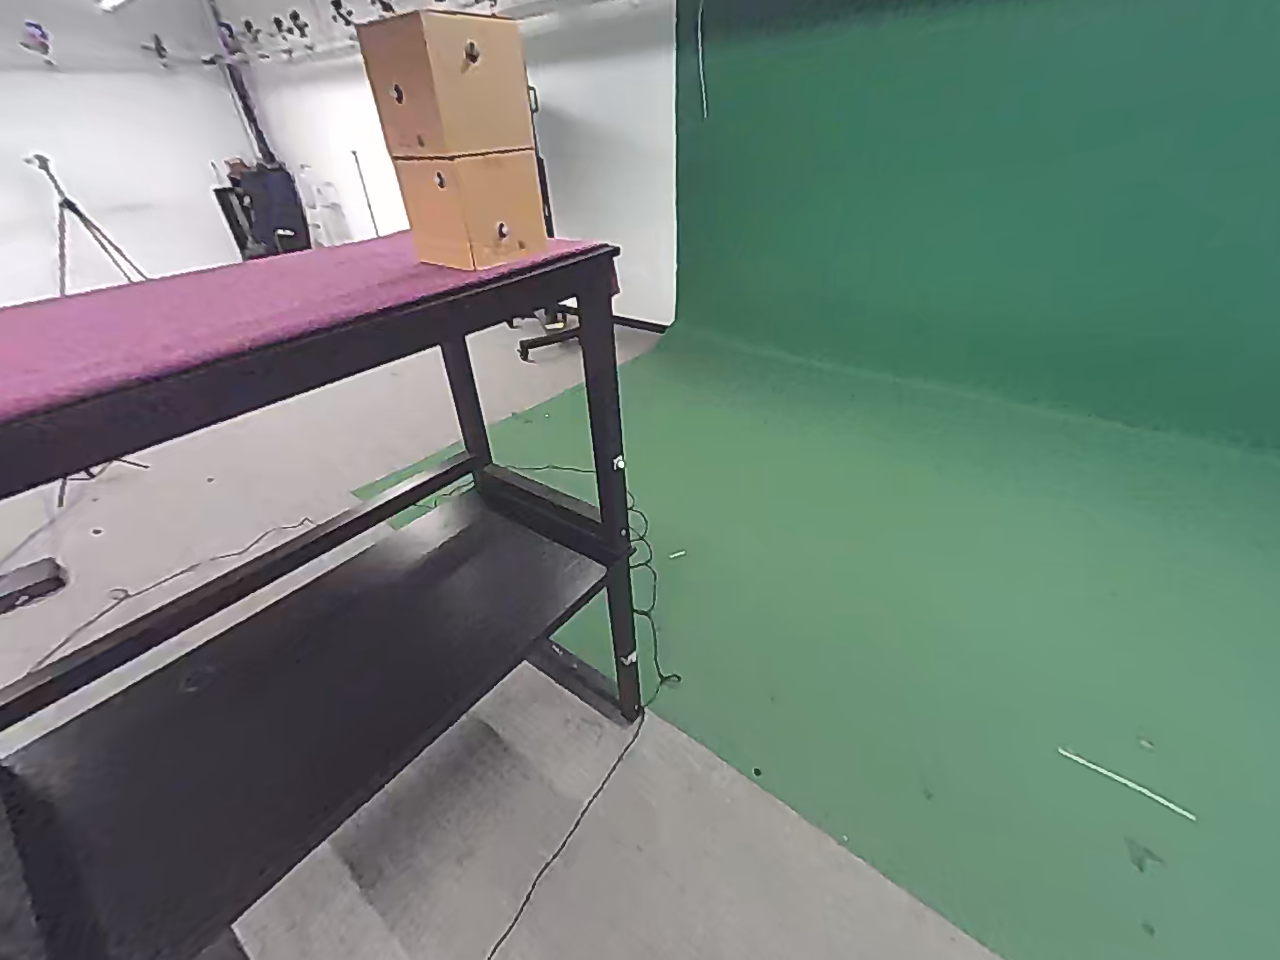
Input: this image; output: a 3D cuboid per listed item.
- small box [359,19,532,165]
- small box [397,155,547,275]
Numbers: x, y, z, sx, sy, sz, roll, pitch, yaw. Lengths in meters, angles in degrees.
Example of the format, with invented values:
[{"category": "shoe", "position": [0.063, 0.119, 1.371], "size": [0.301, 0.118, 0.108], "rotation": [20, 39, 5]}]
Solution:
[{"category": "small box", "position": [-0.291, -0.595, 0.844], "size": [0.168, 0.176, 0.179], "rotation": [23, 42, 32]}, {"category": "small box", "position": [-0.285, -0.464, 0.944], "size": [0.179, 0.176, 0.168], "rotation": [22, 42, 32]}]
